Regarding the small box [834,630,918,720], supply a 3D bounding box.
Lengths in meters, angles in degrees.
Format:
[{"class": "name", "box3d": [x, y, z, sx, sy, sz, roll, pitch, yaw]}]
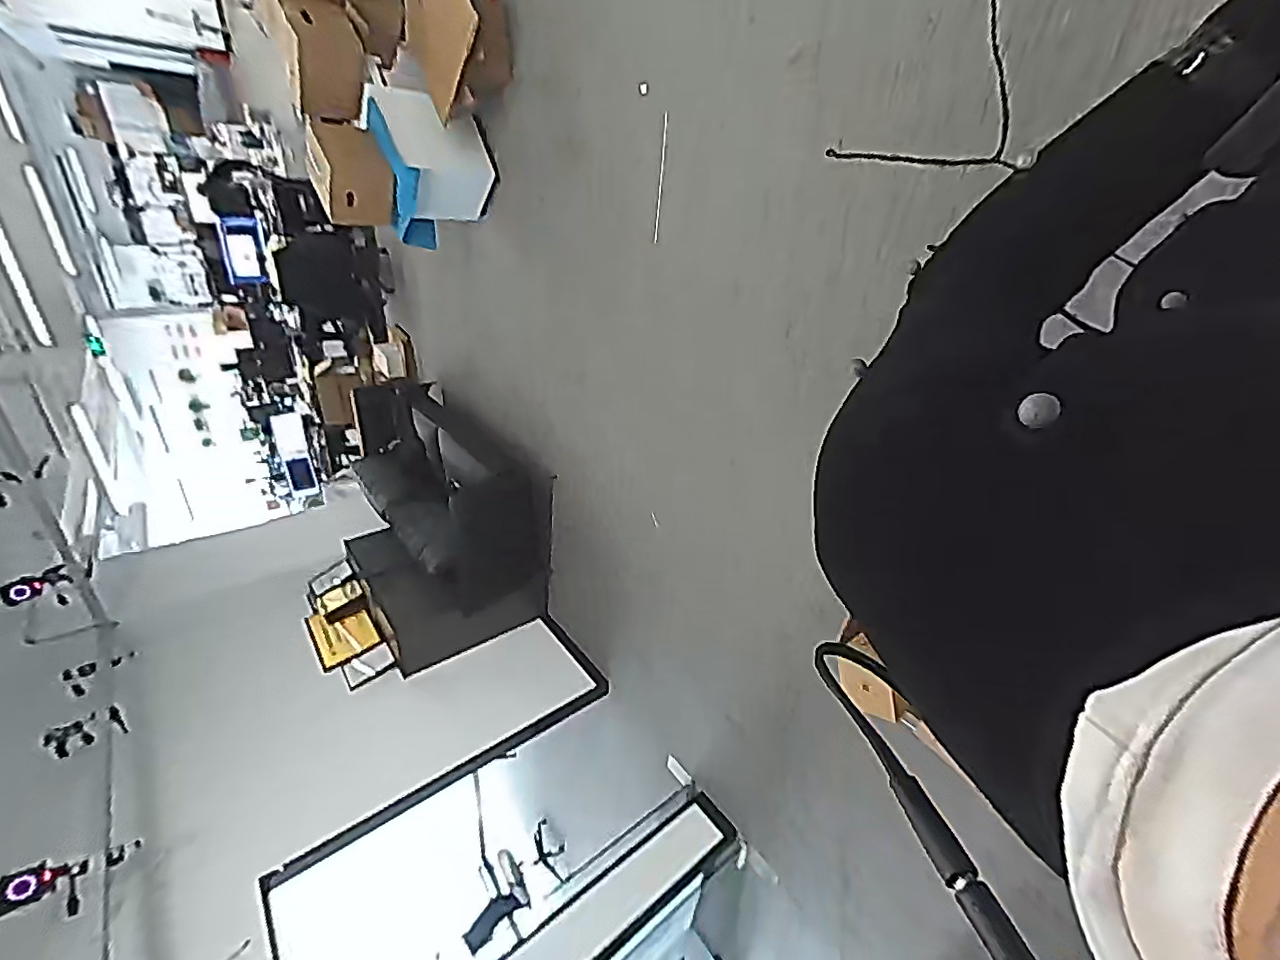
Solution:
[{"class": "small box", "box3d": [0.708, 0.573, 1.618, 0.168, 0.176, 0.179, 3, 106, 52]}]
